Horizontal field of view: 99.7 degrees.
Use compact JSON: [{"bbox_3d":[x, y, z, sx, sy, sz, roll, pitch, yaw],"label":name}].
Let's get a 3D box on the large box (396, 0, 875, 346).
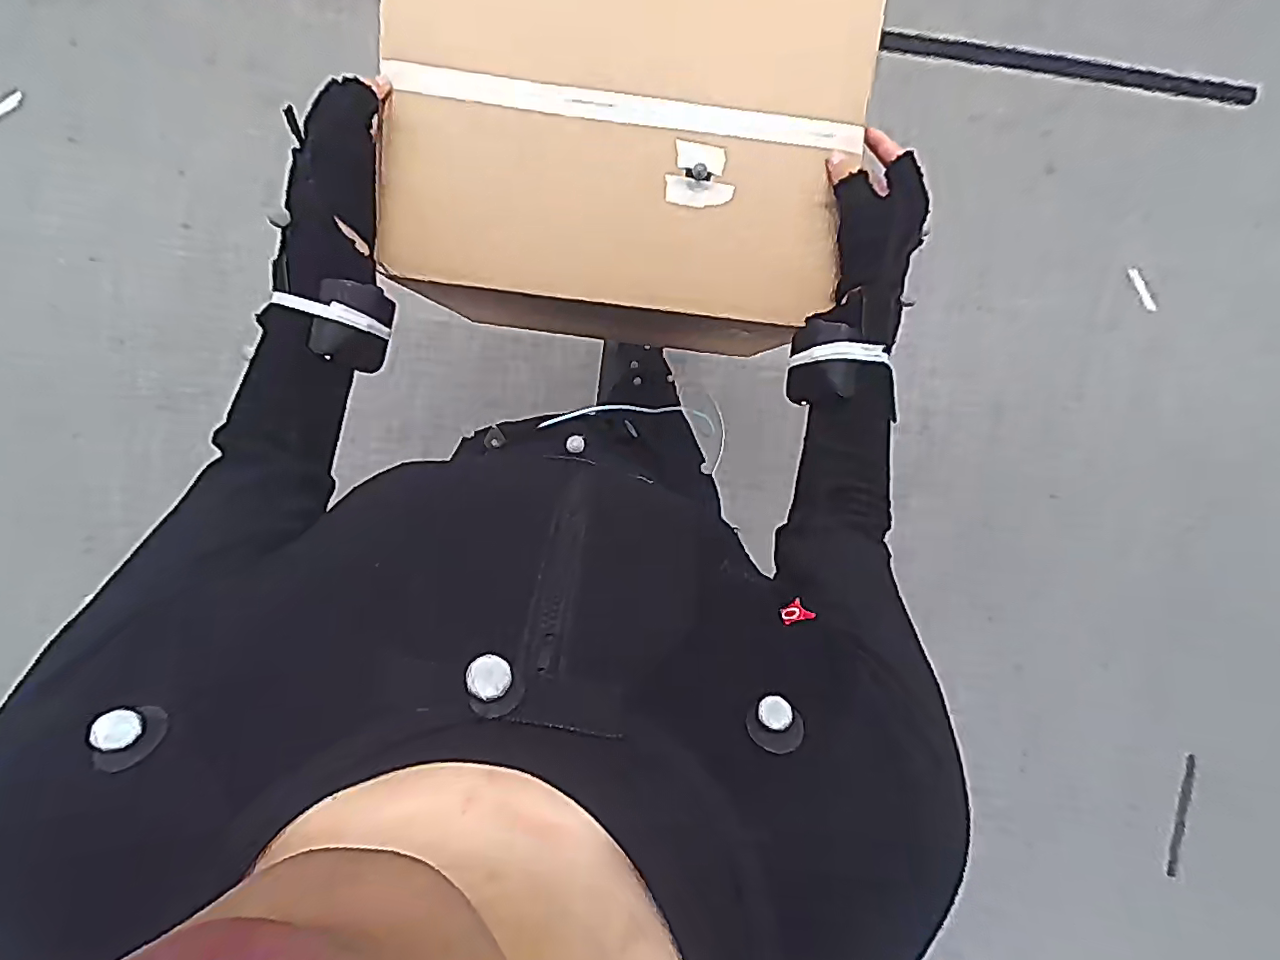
[{"bbox_3d":[-0.014,-0.342,0.618,0.408,0.320,0.320,6,99,-3],"label":"large box"}]
